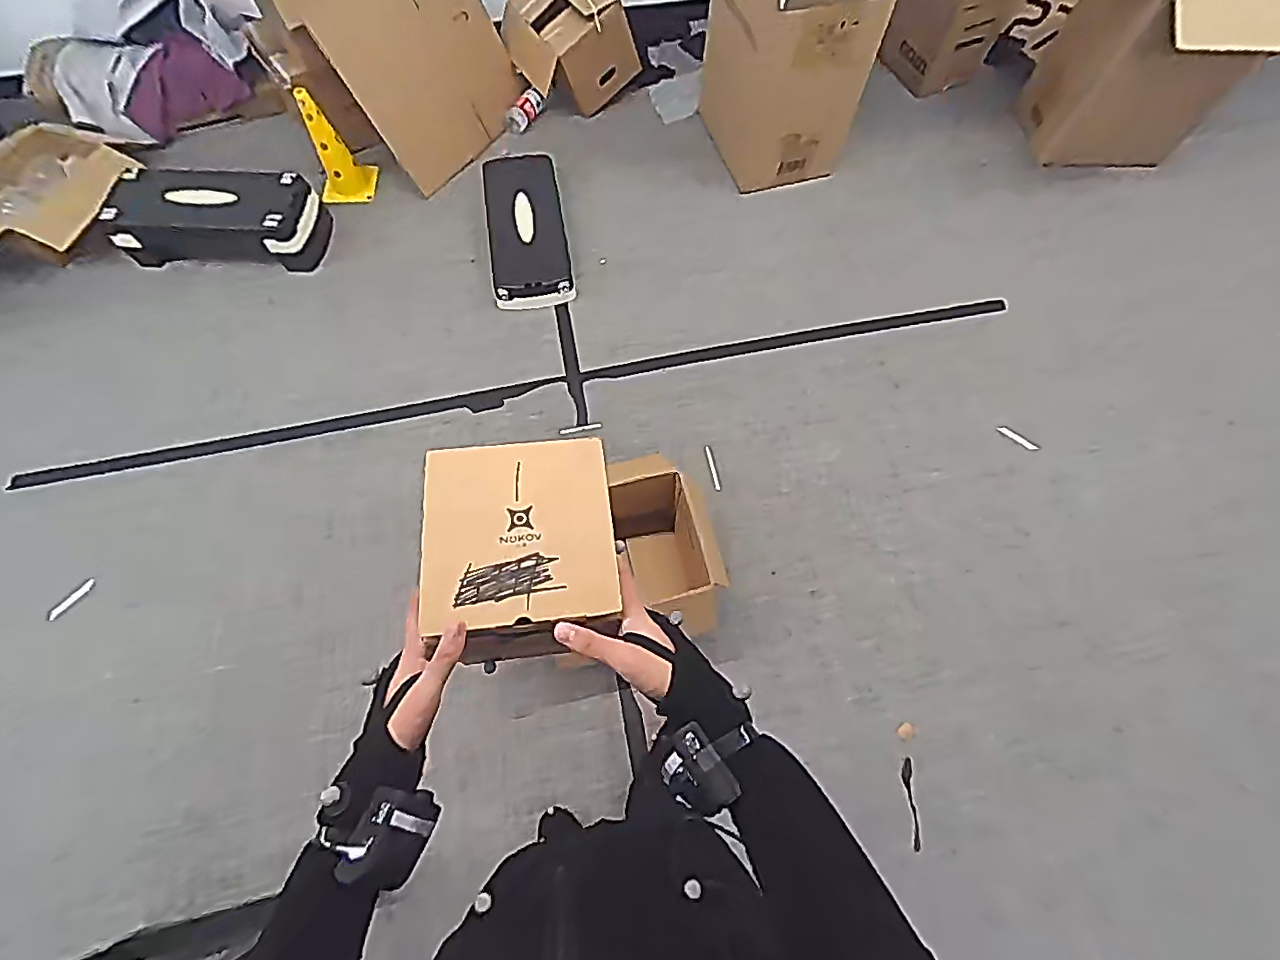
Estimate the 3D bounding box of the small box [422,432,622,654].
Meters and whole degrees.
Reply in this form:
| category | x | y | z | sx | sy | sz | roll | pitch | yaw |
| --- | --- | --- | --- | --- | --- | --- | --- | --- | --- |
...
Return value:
| category | x | y | z | sx | sy | sz | roll | pitch | yaw |
| --- | --- | --- | --- | --- | --- | --- | --- | --- | --- |
| small box | -0.108 | 0.072 | 0.543 | 0.168 | 0.176 | 0.179 | -5 | 65 | -7 |
